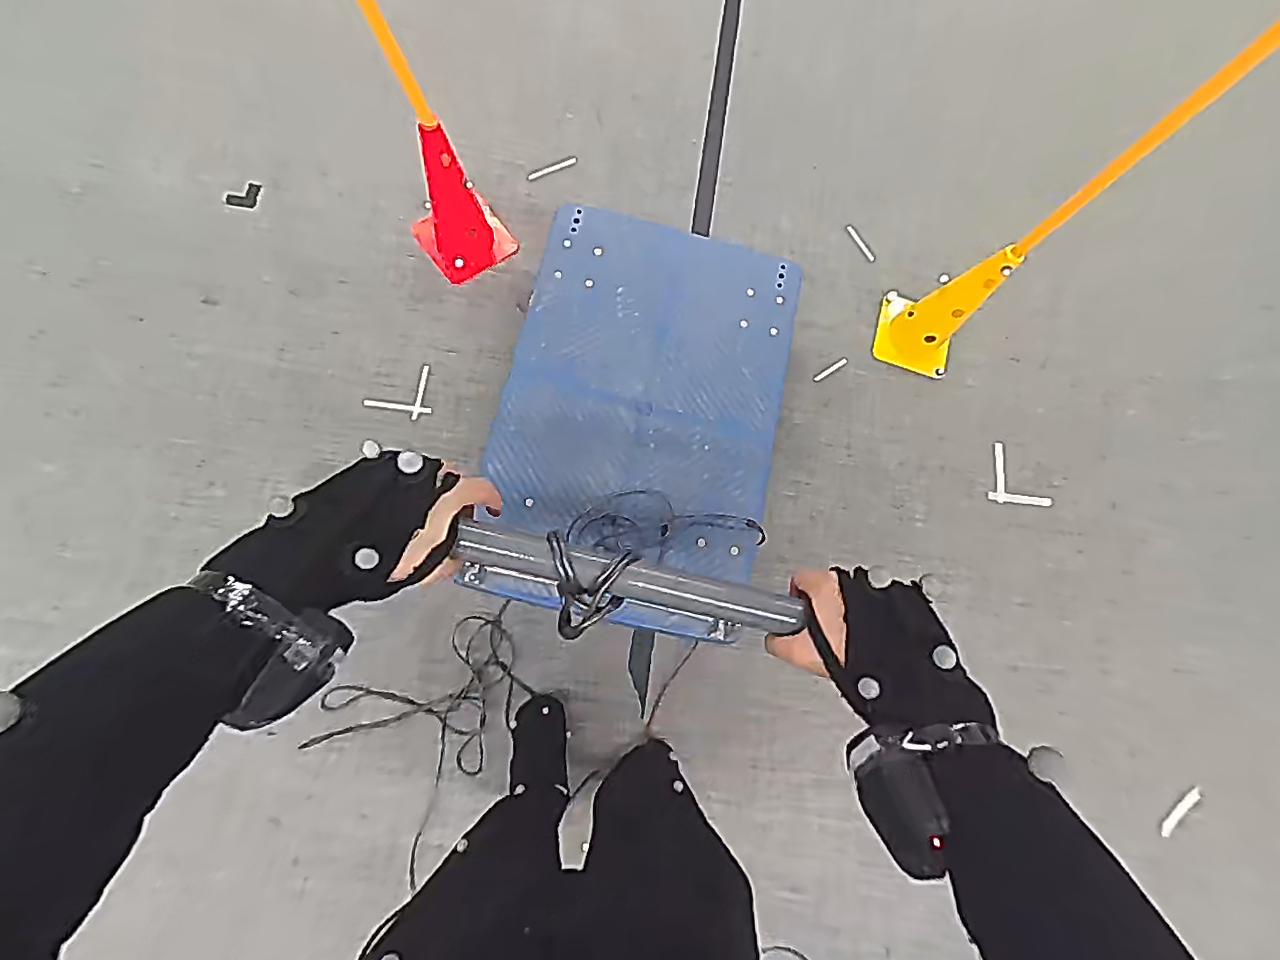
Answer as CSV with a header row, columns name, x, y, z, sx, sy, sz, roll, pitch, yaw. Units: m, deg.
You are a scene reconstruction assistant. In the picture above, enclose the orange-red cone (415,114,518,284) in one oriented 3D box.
name,x,y,z,sx,sy,sz,roll,pitch,yaw
orange-red cone,-0.410,-0.637,1.186,0.199,0.360,0.198,-35,85,-14
